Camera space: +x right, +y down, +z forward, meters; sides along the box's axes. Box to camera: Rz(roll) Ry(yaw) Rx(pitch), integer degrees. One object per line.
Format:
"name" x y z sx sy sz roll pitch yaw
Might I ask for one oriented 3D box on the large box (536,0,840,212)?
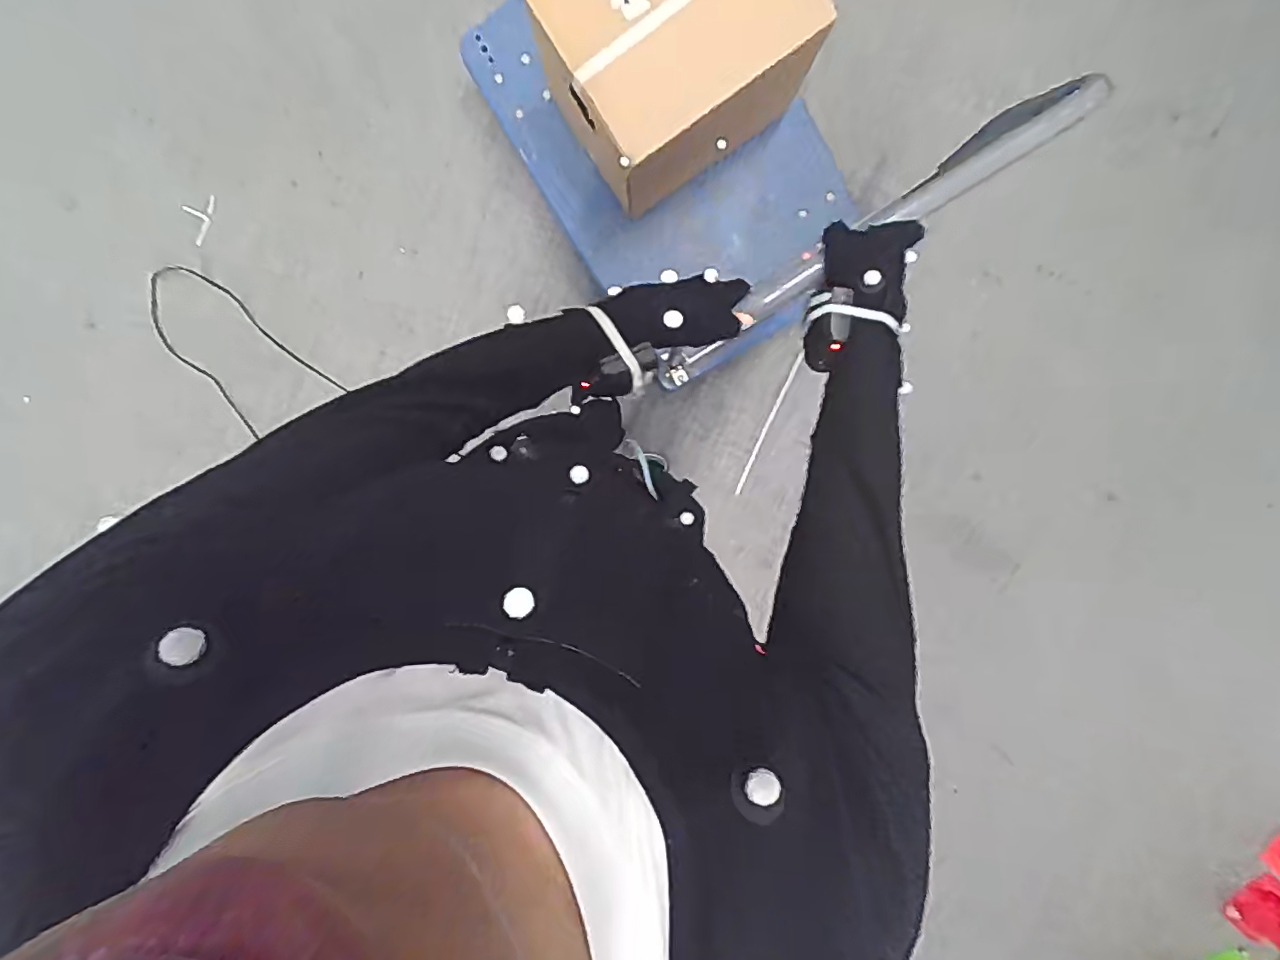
"large box" 0.079 -0.791 1.009 0.408 0.320 0.320 -34 98 6
